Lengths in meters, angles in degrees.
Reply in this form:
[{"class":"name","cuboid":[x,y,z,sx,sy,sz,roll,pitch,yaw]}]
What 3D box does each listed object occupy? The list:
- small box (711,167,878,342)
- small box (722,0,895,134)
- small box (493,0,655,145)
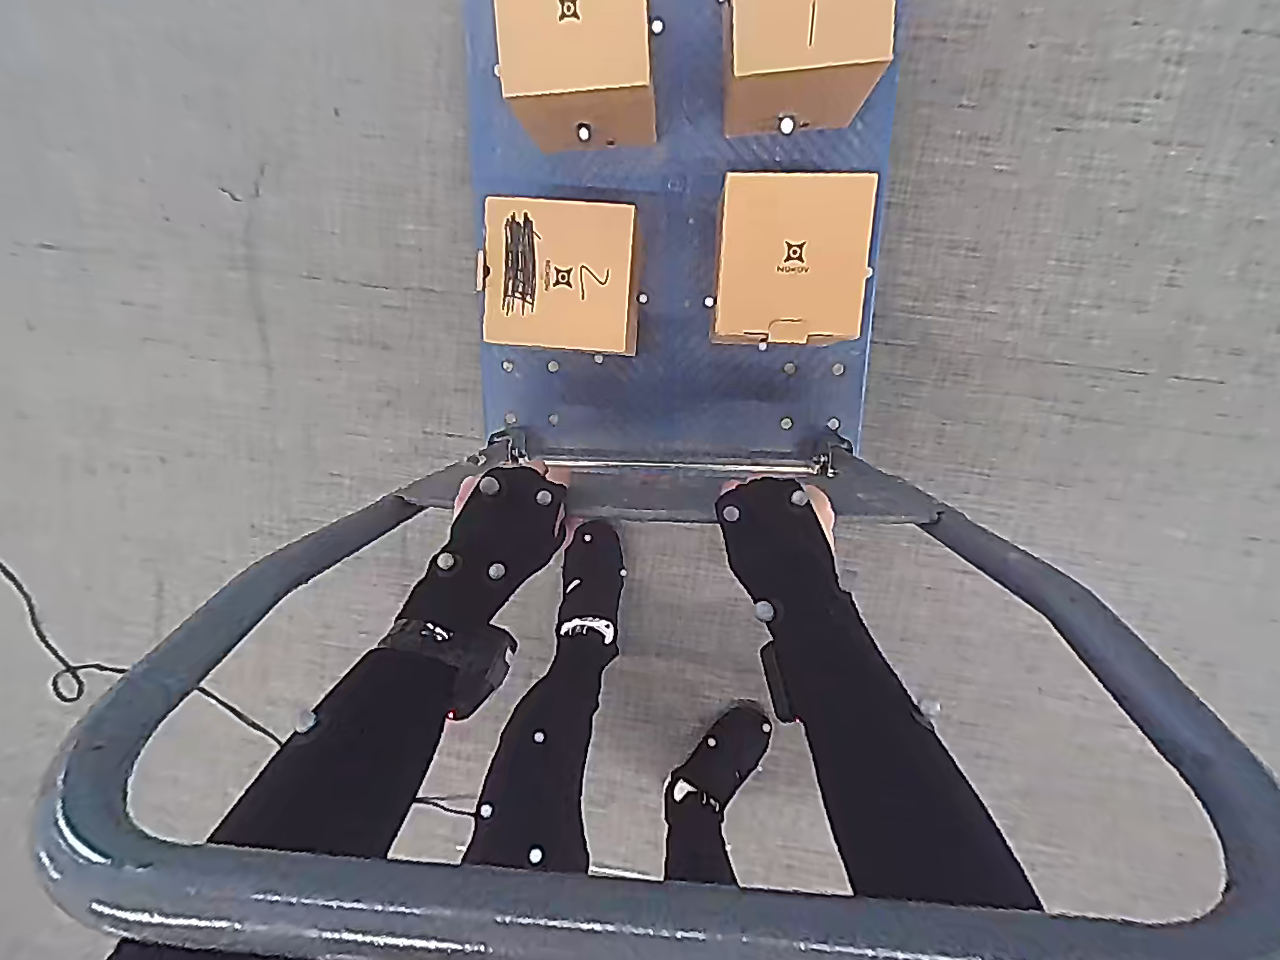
[{"class":"small box","cuboid":[0.180,-0.271,0.684,0.168,0.176,0.179,3,103,4]},{"class":"small box","cuboid":[0.183,-0.535,0.626,0.168,0.176,0.179,-2,103,6]},{"class":"small box","cuboid":[-0.069,-0.526,0.649,0.168,0.176,0.179,-2,102,4]}]
